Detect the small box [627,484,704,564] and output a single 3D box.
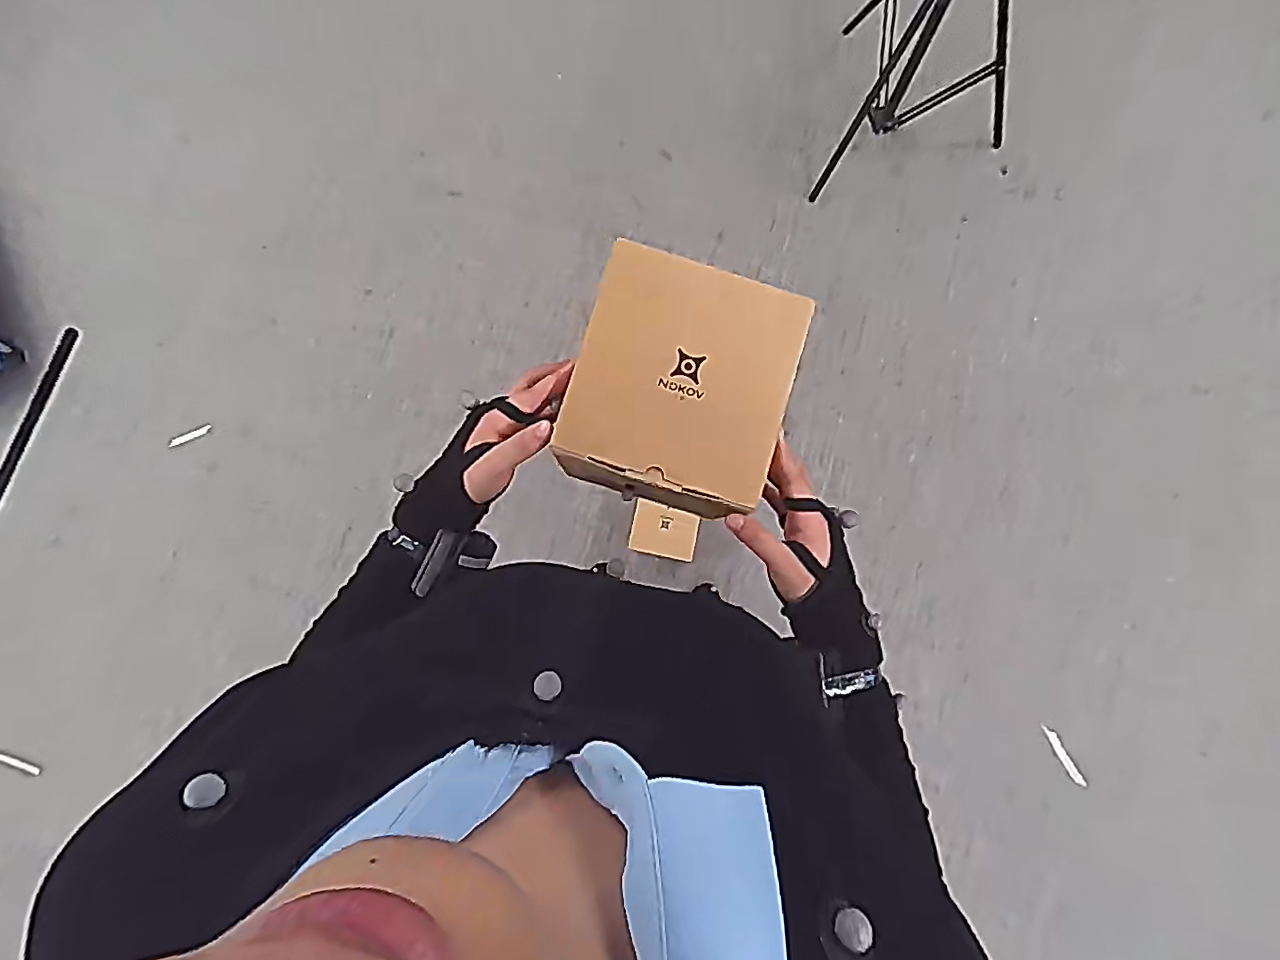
[{"bbox_3d":[0.069,0.121,1.437,0.168,0.176,0.179,12,82,5],"label":"small box"}]
